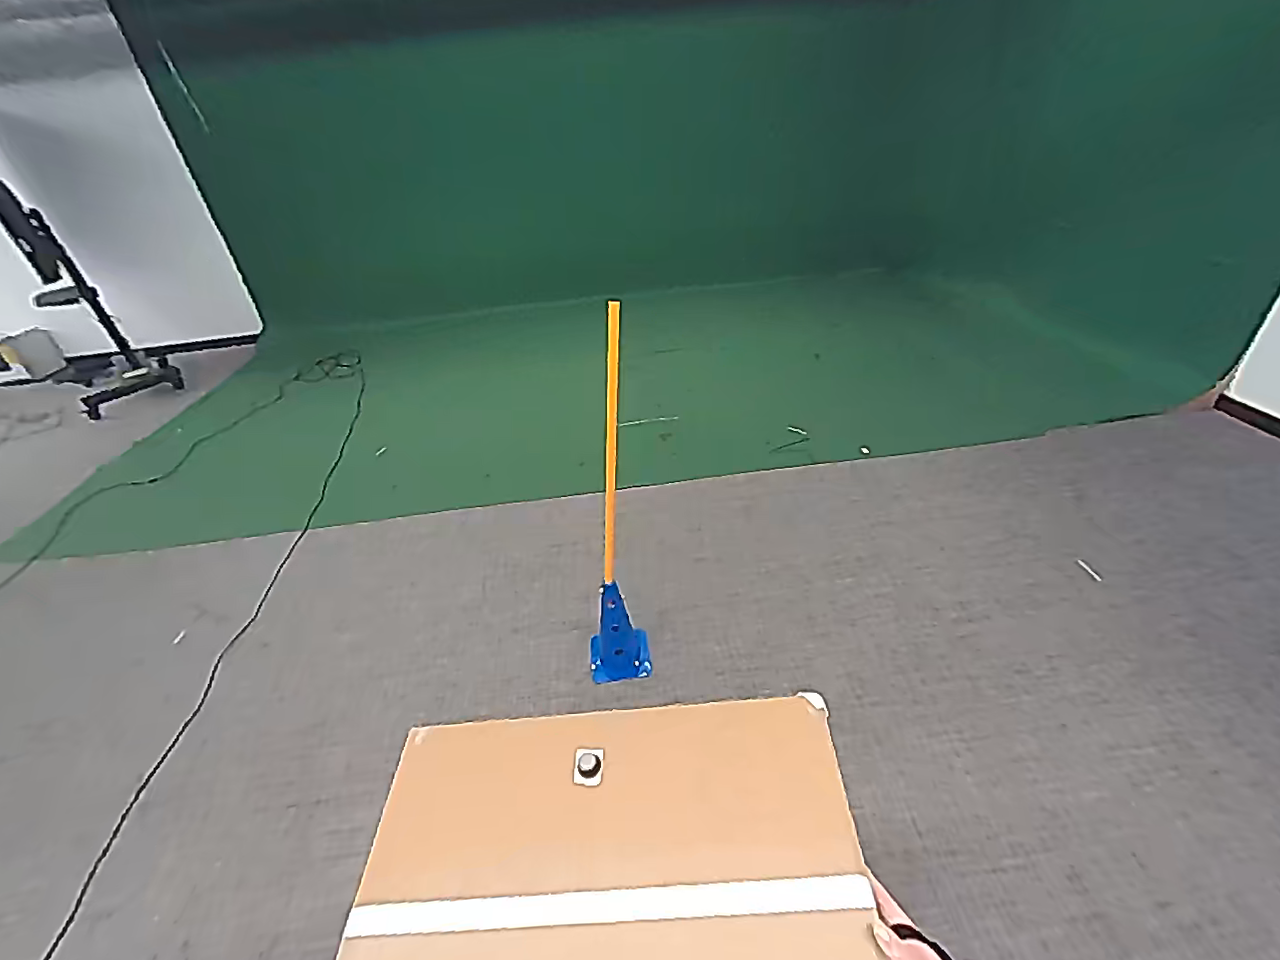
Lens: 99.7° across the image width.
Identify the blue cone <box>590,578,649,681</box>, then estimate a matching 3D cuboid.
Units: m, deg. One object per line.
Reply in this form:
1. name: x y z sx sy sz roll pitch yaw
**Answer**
1. blue cone: -0.082 0.456 1.745 0.193 0.380 0.192 -7 35 -5
